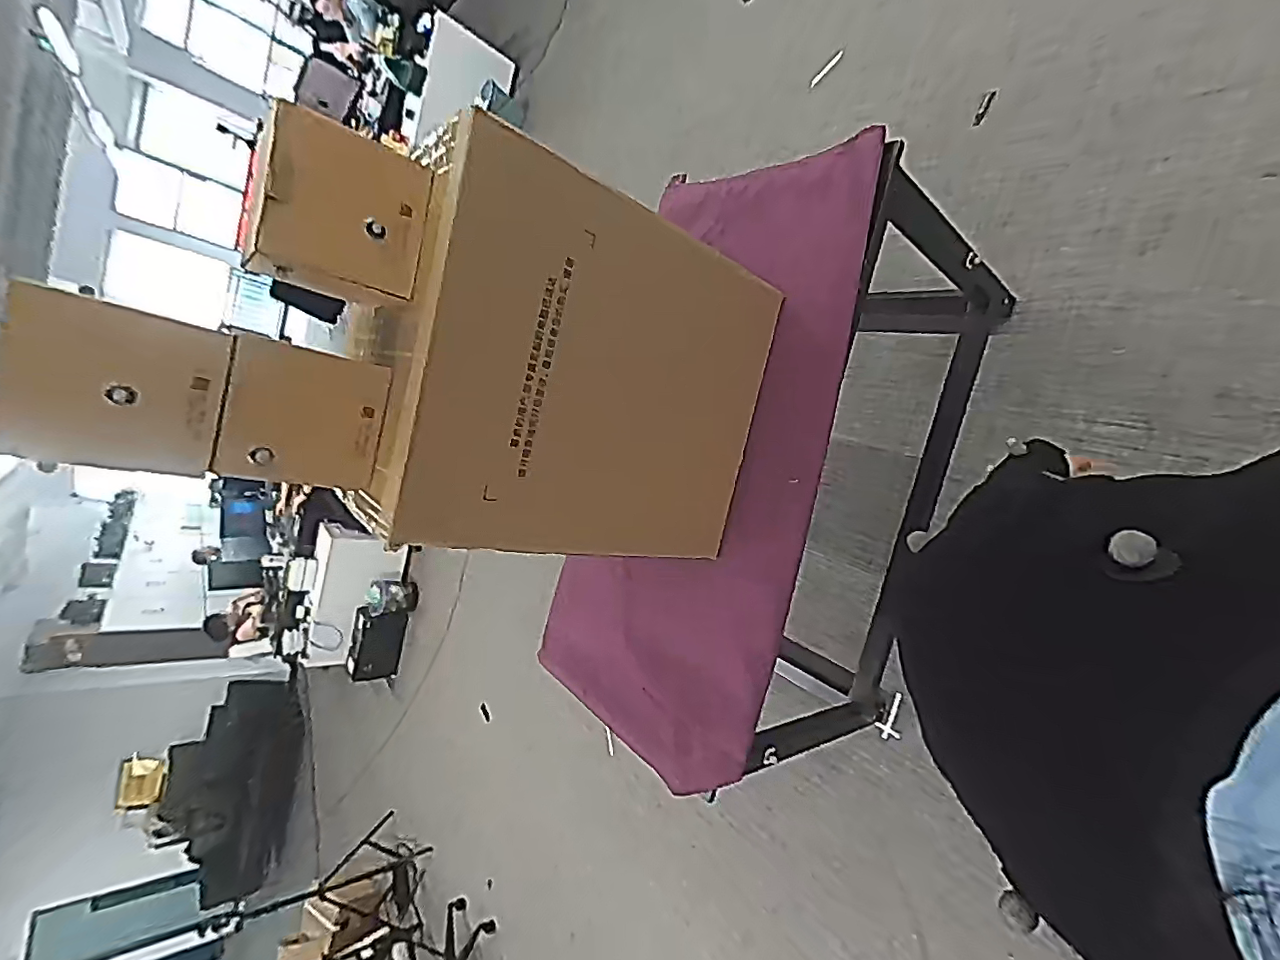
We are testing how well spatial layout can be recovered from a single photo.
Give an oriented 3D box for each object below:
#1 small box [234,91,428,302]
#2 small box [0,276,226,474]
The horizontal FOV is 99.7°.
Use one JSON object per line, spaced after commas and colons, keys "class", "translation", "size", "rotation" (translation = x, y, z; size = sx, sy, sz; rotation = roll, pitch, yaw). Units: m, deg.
{"class": "small box", "translation": [-0.391, -0.333, 0.683], "size": [0.179, 0.176, 0.168], "rotation": [16, 96, 48]}
{"class": "small box", "translation": [-0.576, -0.106, 0.596], "size": [0.179, 0.176, 0.168], "rotation": [14, 92, 49]}
